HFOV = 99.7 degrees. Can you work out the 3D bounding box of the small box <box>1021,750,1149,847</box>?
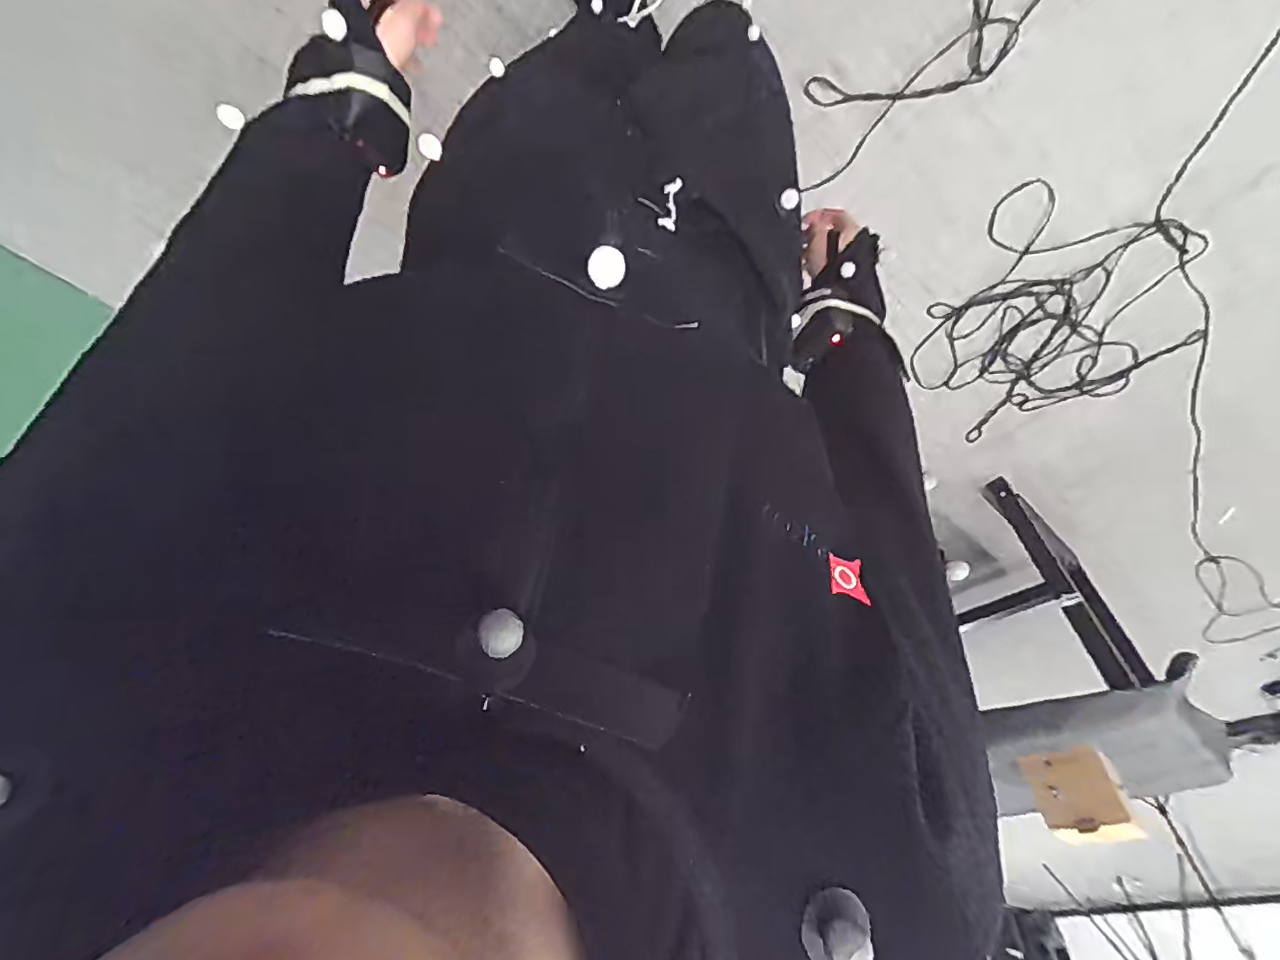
[{"bbox_3d":[1.062,0.765,1.302,0.168,0.176,0.179,-33,127,32],"label":"small box"}]
